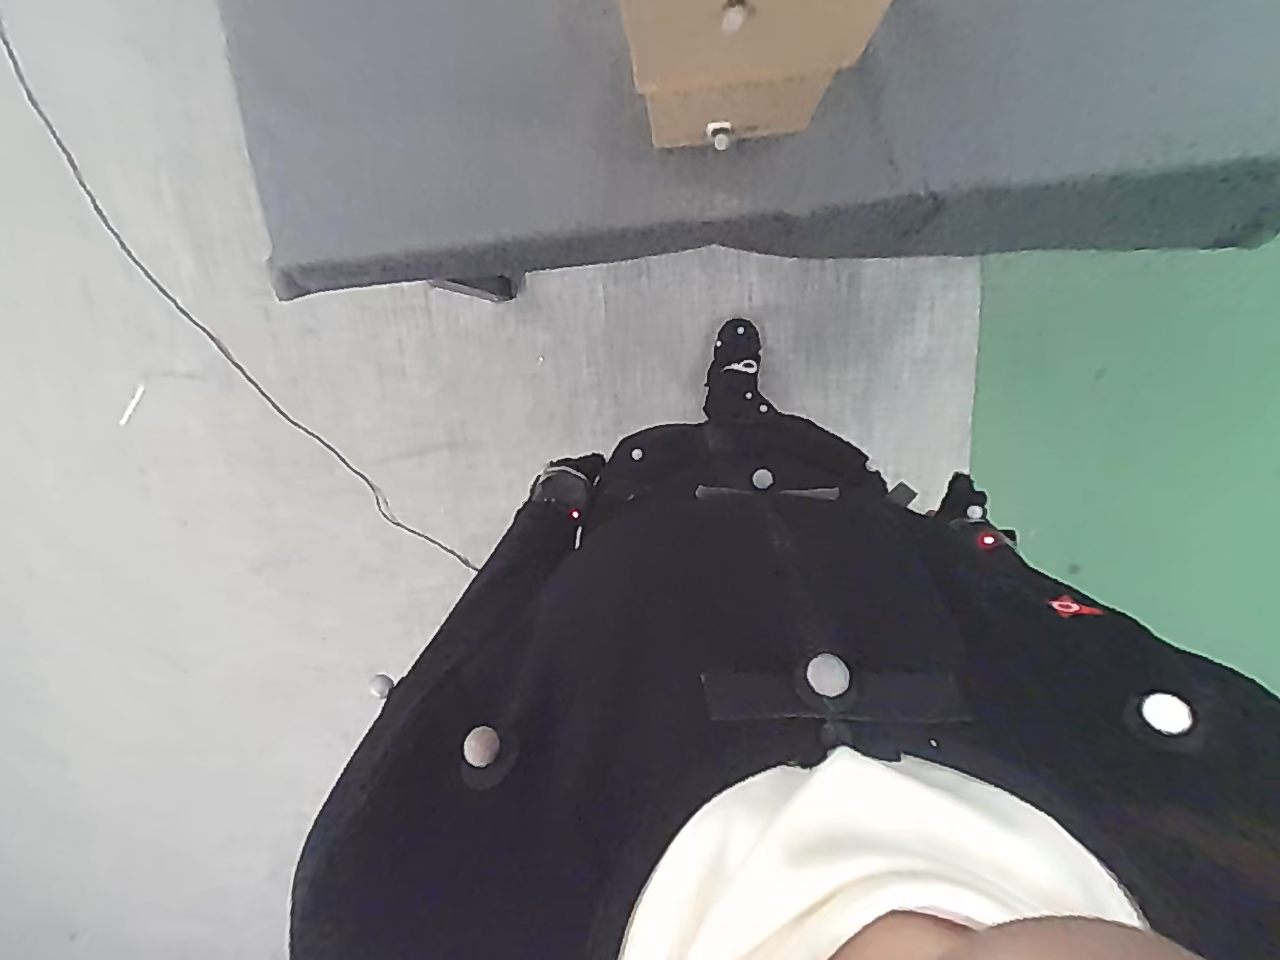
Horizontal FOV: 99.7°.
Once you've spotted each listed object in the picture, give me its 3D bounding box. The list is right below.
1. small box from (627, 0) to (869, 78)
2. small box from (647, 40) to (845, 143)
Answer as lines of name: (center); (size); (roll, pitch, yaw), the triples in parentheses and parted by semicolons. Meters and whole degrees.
small box: (0.069, -0.396, 0.344); (0.179, 0.176, 0.168); (-6, 100, 6)
small box: (0.083, -0.446, 0.496); (0.168, 0.176, 0.179); (-5, 103, 7)
